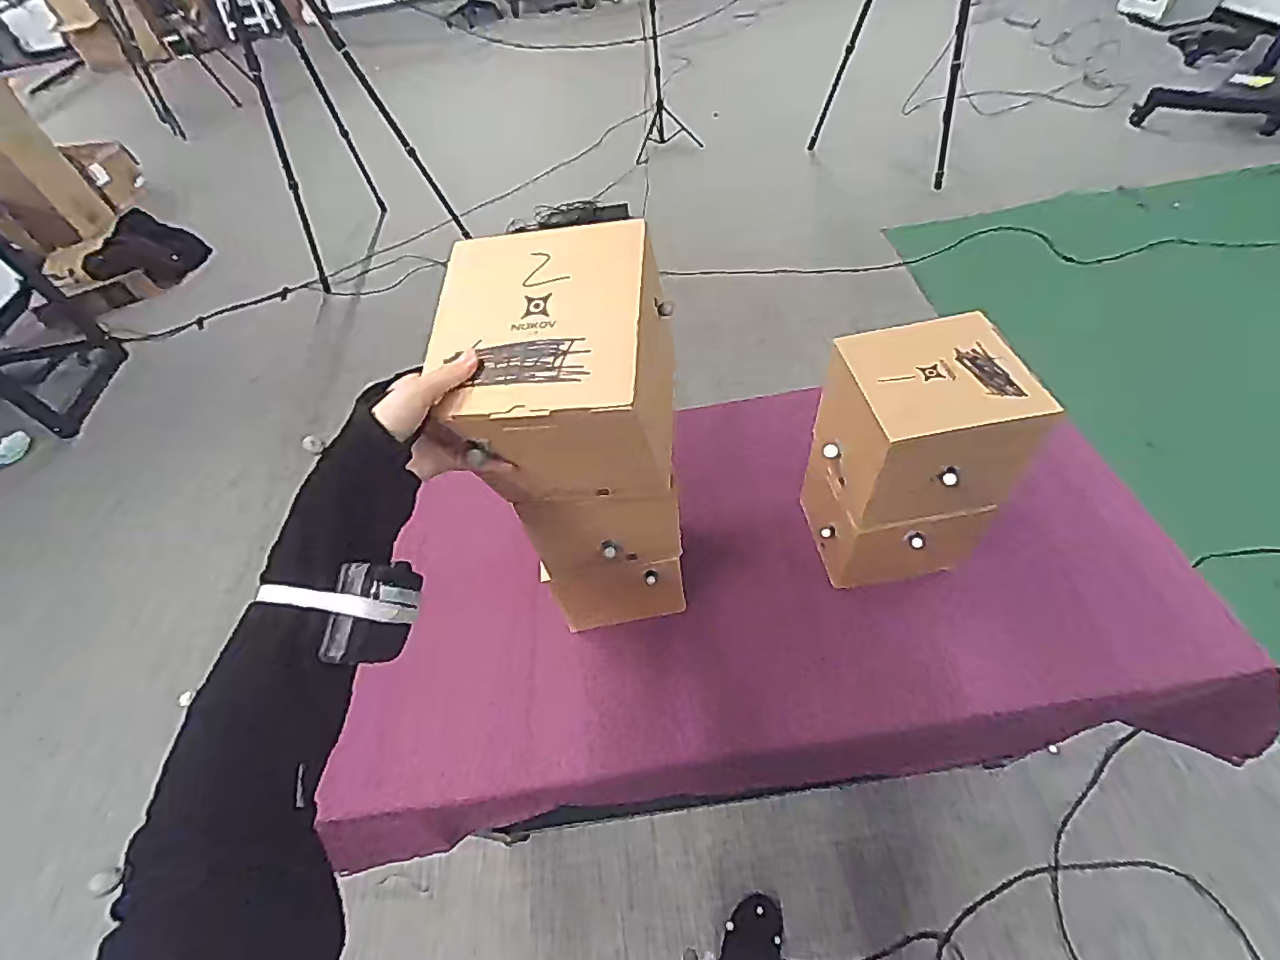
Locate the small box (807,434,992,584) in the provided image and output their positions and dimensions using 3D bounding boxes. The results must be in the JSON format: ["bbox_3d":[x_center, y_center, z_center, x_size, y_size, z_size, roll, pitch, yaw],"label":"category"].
[{"bbox_3d":[0.348,0.033,0.772,0.179,0.176,0.168,-9,53,1],"label":"small box"}]

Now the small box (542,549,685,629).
[{"bbox_3d":[-0.038,0.098,0.783,0.179,0.176,0.168,-11,52,-1],"label":"small box"}]

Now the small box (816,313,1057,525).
[{"bbox_3d":[0.327,-0.067,0.644,0.179,0.176,0.168,-11,52,1],"label":"small box"}]

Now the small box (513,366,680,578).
[{"bbox_3d":[-0.050,-0.007,0.655,0.168,0.176,0.179,-12,52,0],"label":"small box"}]
